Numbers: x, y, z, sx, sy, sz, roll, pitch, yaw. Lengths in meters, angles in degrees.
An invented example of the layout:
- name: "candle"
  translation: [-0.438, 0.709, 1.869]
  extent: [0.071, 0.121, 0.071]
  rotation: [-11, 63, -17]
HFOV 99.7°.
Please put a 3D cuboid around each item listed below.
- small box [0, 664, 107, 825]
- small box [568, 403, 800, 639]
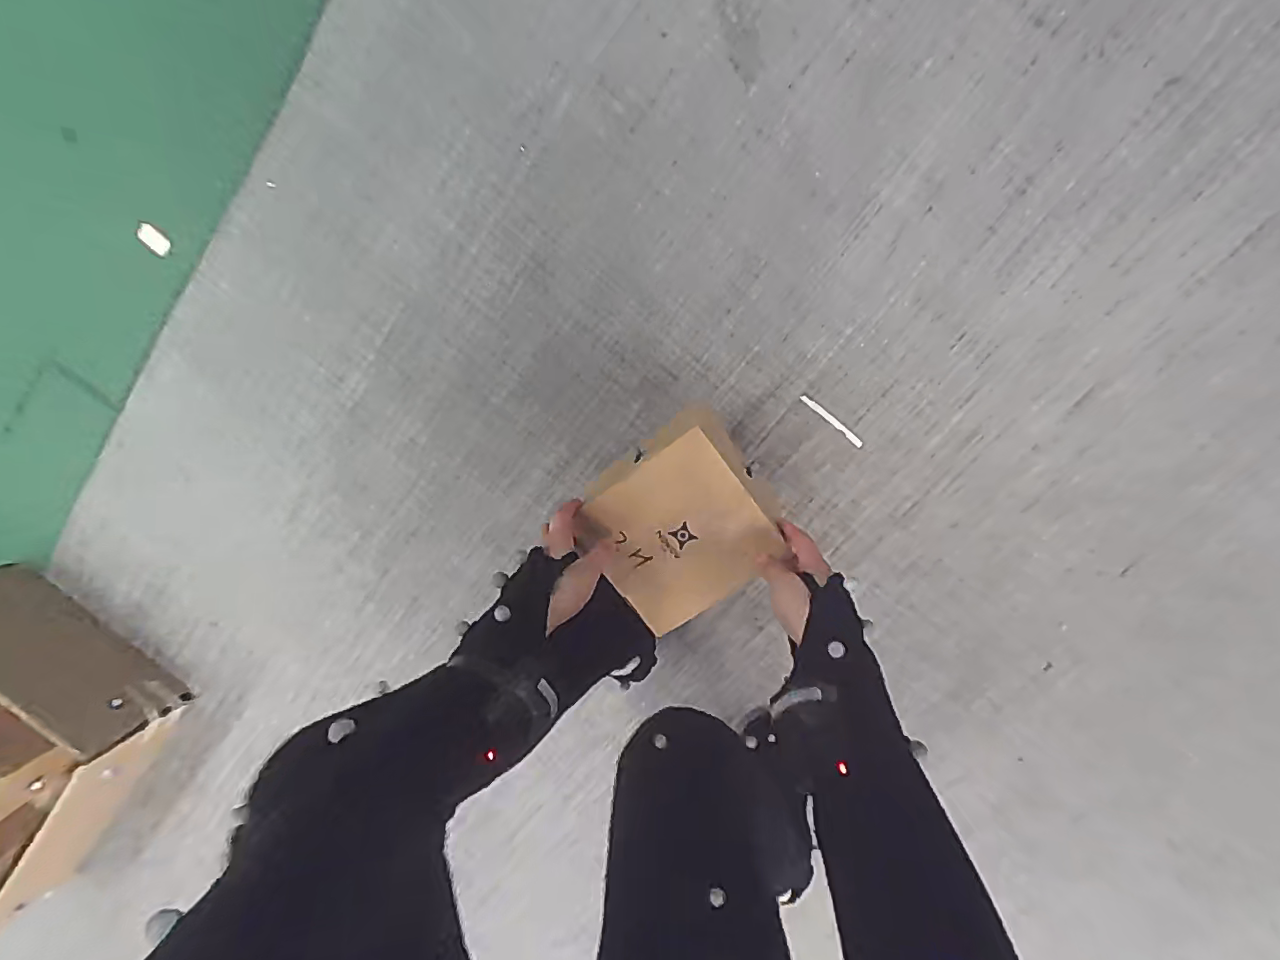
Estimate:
- name: "small box"
  translation: [-1.054, 0.444, 0.893]
  extent: [0.168, 0.176, 0.179]
  rotation: [40, 105, -4]
- name: "small box"
  translation: [0.050, 0.034, 0.606]
  extent: [0.179, 0.176, 0.168]
  rotation: [-35, 100, 17]
